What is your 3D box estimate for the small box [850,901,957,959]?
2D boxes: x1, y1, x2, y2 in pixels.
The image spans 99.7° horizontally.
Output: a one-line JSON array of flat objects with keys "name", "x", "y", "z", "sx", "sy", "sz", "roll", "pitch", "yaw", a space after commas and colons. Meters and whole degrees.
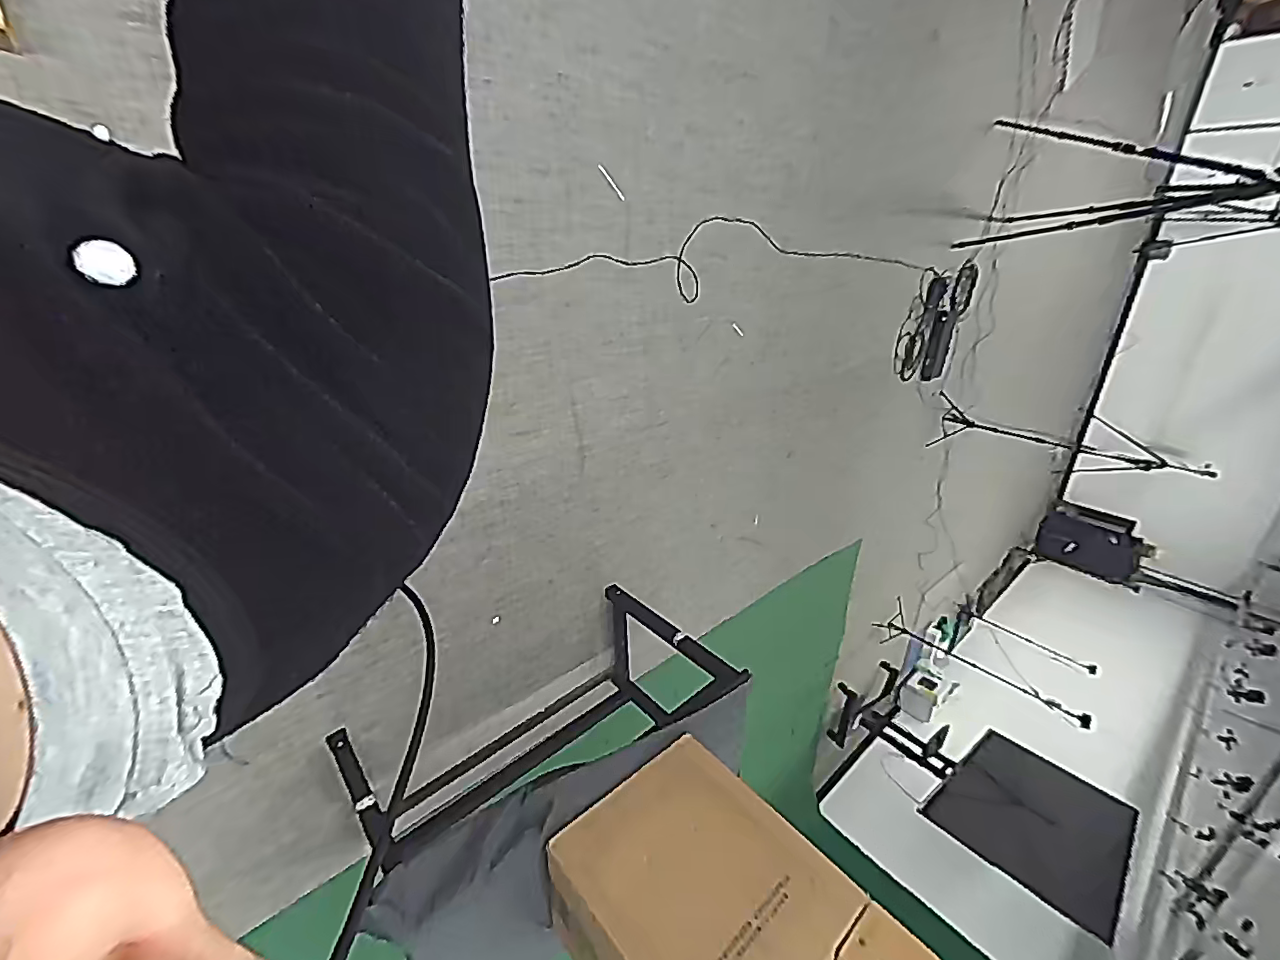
[{"name": "small box", "x": 0.585, "y": 1.120, "z": 1.232, "sx": 0.168, "sy": 0.176, "sz": 0.179, "roll": -20, "pitch": 121, "yaw": -38}]

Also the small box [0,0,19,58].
[{"name": "small box", "x": -1.075, "y": -0.758, "z": 0.797, "sx": 0.168, "sy": 0.176, "sz": 0.179, "roll": -17, "pitch": 119, "yaw": -38}]
